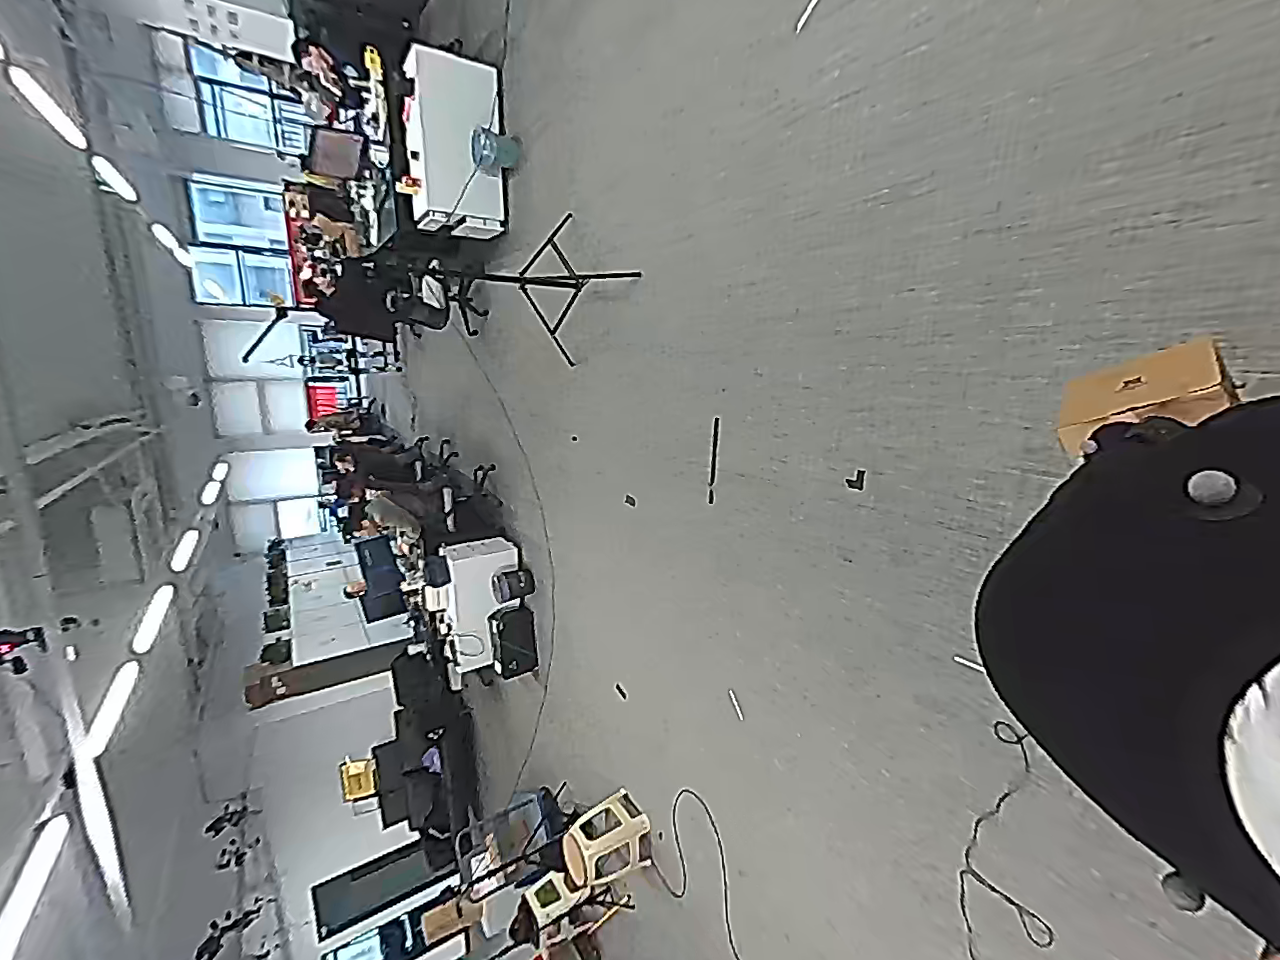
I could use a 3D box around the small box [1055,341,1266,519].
[{"bbox_3d":[0.717,-0.059,0.751,0.168,0.179,0.176,-22,103,51],"label":"small box"}]
